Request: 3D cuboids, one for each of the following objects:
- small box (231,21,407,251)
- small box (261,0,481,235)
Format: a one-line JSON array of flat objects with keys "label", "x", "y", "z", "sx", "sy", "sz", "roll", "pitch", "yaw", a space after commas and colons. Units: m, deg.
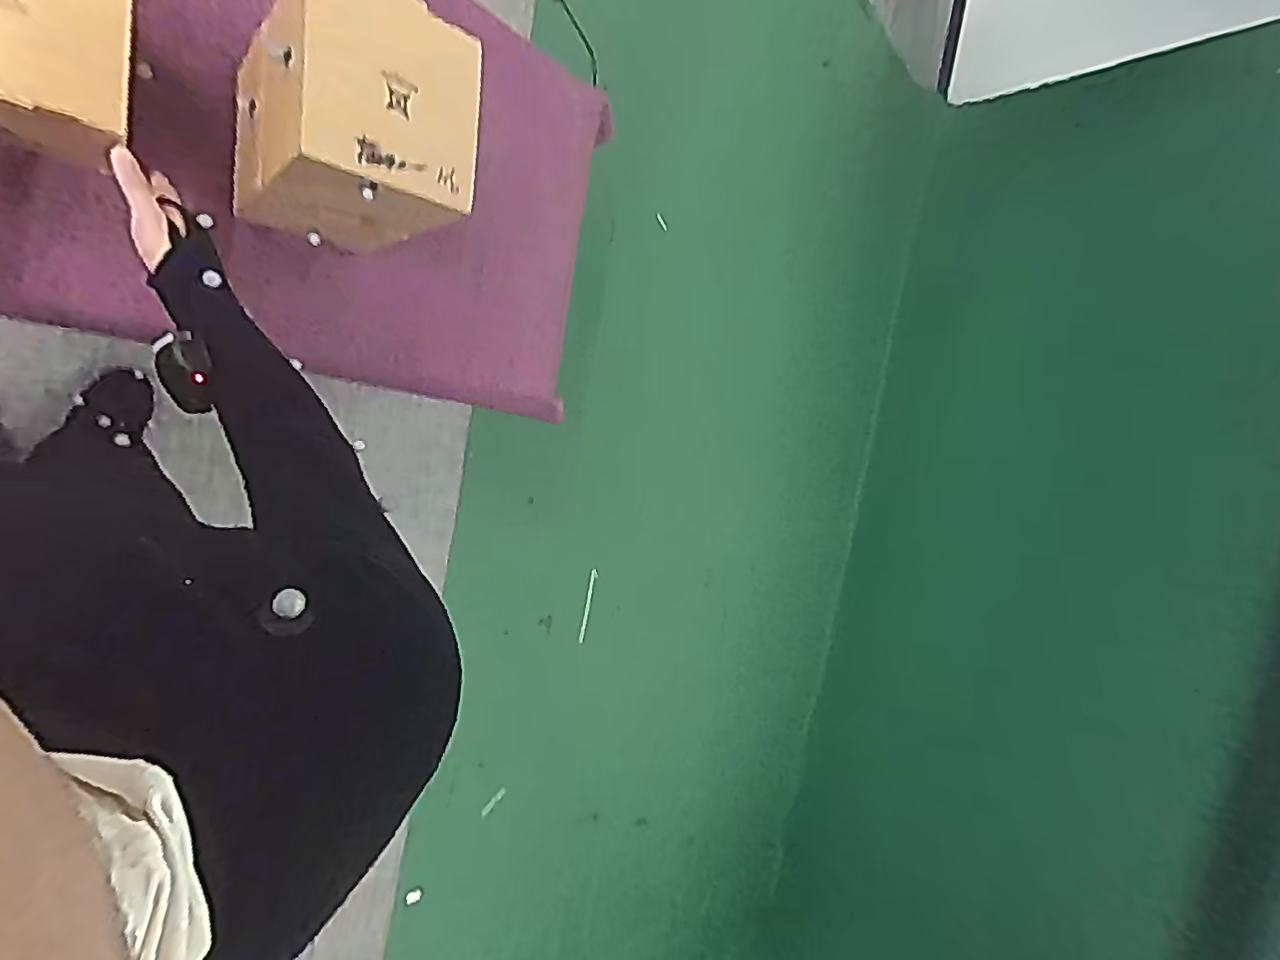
[{"label": "small box", "x": -0.405, "y": -0.412, "z": 0.688, "sx": 0.168, "sy": 0.176, "sz": 0.179, "roll": 0, "pitch": 100, "yaw": -45}, {"label": "small box", "x": -0.289, "y": -0.385, "z": 0.575, "sx": 0.168, "sy": 0.176, "sz": 0.179, "roll": -1, "pitch": 99, "yaw": -45}]
